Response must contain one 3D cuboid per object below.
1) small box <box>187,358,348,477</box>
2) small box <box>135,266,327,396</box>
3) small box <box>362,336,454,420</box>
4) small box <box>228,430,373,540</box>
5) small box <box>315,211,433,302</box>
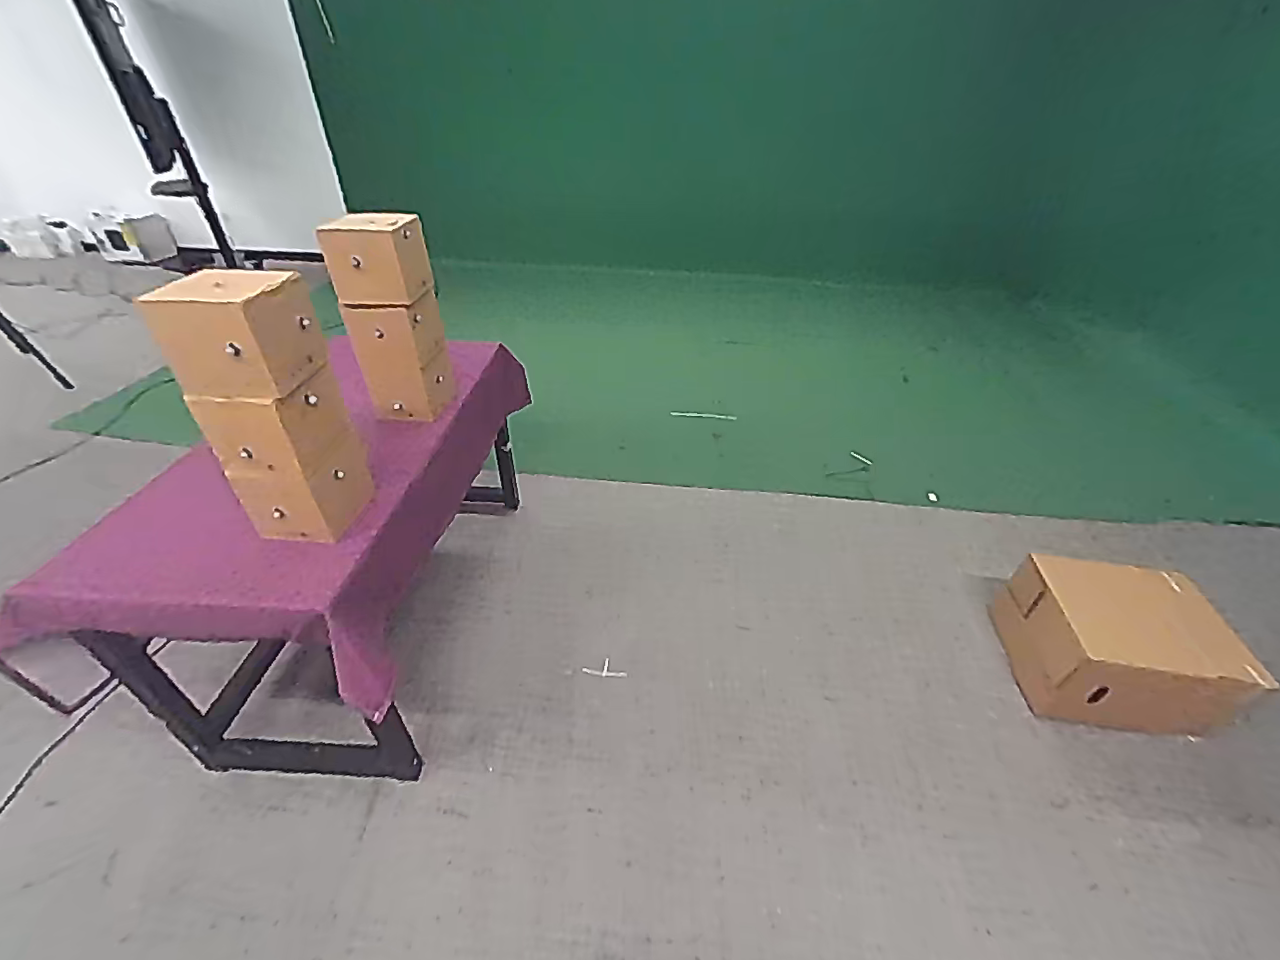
[{"bbox_3d":[-0.691,-0.126,1.035,0.168,0.176,0.179,4,39,5],"label":"small box"},{"bbox_3d":[-0.687,-0.257,0.937,0.179,0.176,0.168,2,37,3],"label":"small box"},{"bbox_3d":[-0.638,-0.287,1.514,0.168,0.176,0.179,4,39,5],"label":"small box"},{"bbox_3d":[-0.692,0.006,1.130,0.168,0.176,0.179,5,38,5],"label":"small box"},{"bbox_3d":[-0.626,-0.537,1.299,0.179,0.176,0.168,1,38,3],"label":"small box"}]
